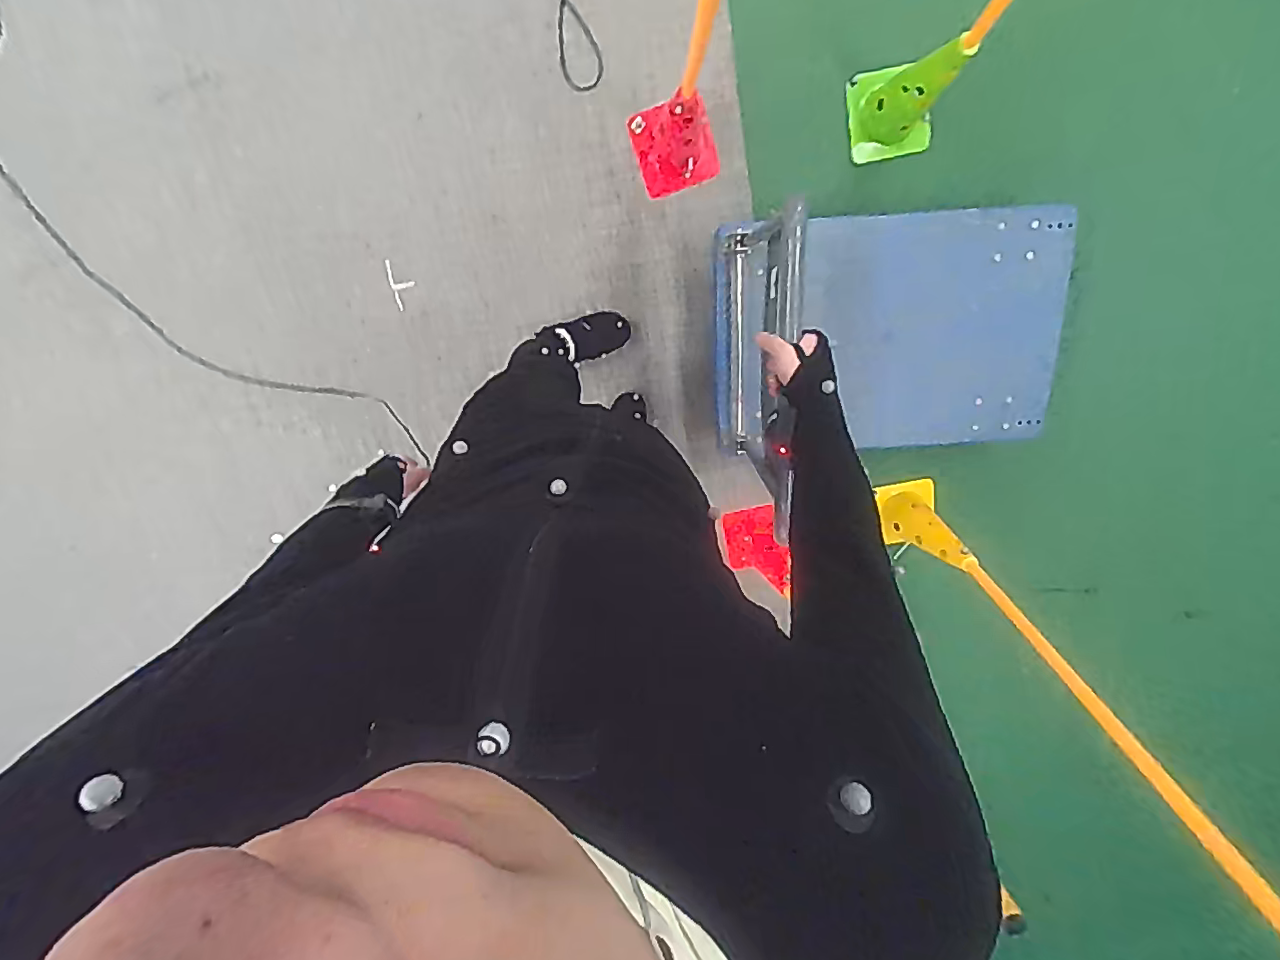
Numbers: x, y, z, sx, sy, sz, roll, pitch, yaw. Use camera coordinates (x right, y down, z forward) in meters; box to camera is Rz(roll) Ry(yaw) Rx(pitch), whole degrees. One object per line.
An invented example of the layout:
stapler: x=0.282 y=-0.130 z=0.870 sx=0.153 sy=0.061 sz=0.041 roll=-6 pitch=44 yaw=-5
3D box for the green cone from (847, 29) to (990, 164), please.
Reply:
green cone: x=0.628 y=-0.868 z=1.189 sx=0.202 sy=0.368 sz=0.200 roll=-11 pitch=106 yaw=1

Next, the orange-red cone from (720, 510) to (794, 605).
orange-red cone: x=0.362 y=0.245 z=1.516 sx=0.199 sy=0.360 sz=0.198 roll=-11 pitch=107 yaw=0
